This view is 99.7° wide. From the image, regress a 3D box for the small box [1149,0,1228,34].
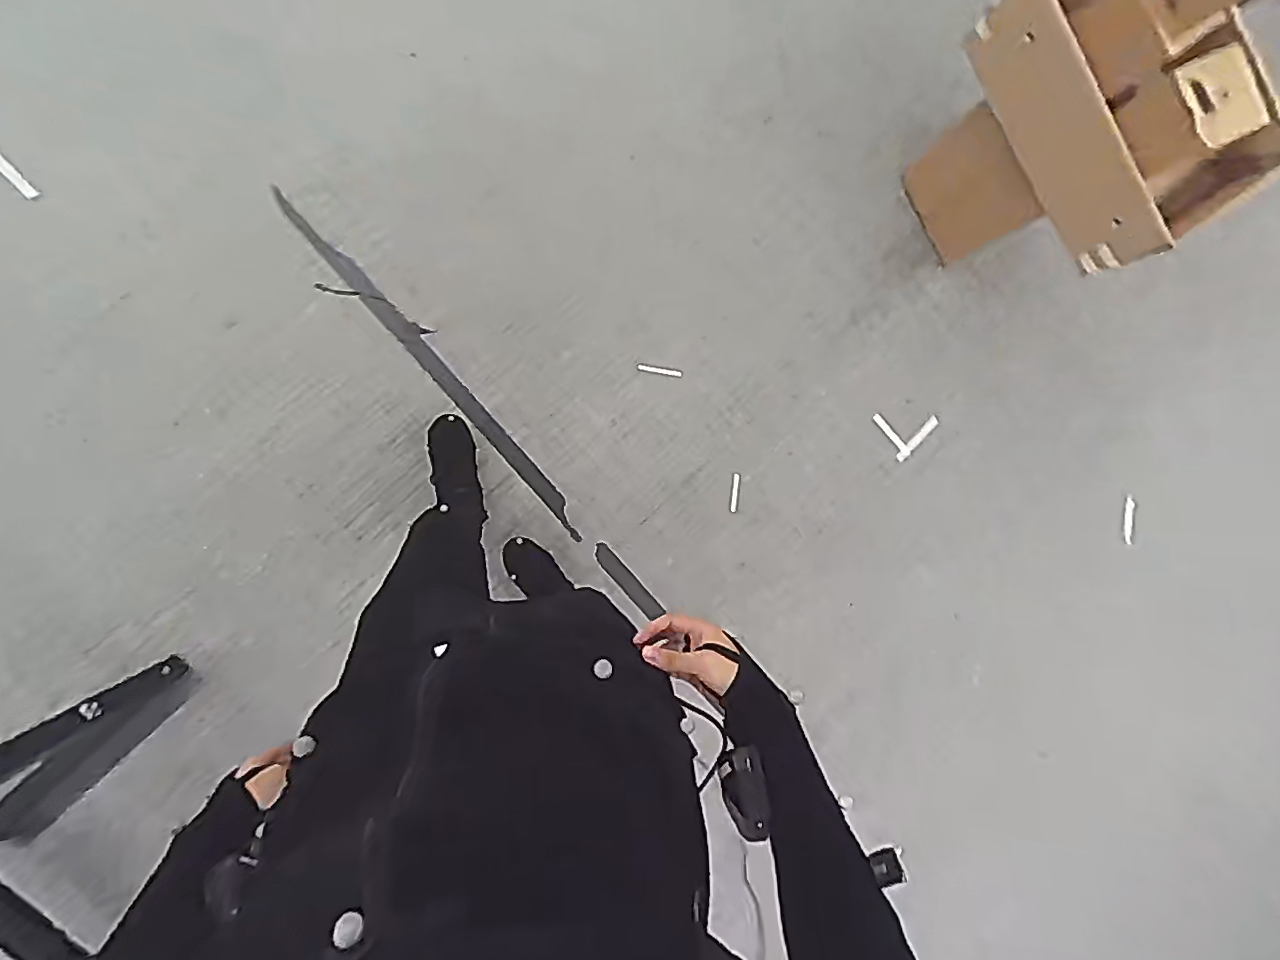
[{"bbox_3d":[1.030,-0.950,0.942,0.179,0.176,0.168,-43,97,-7],"label":"small box"}]
